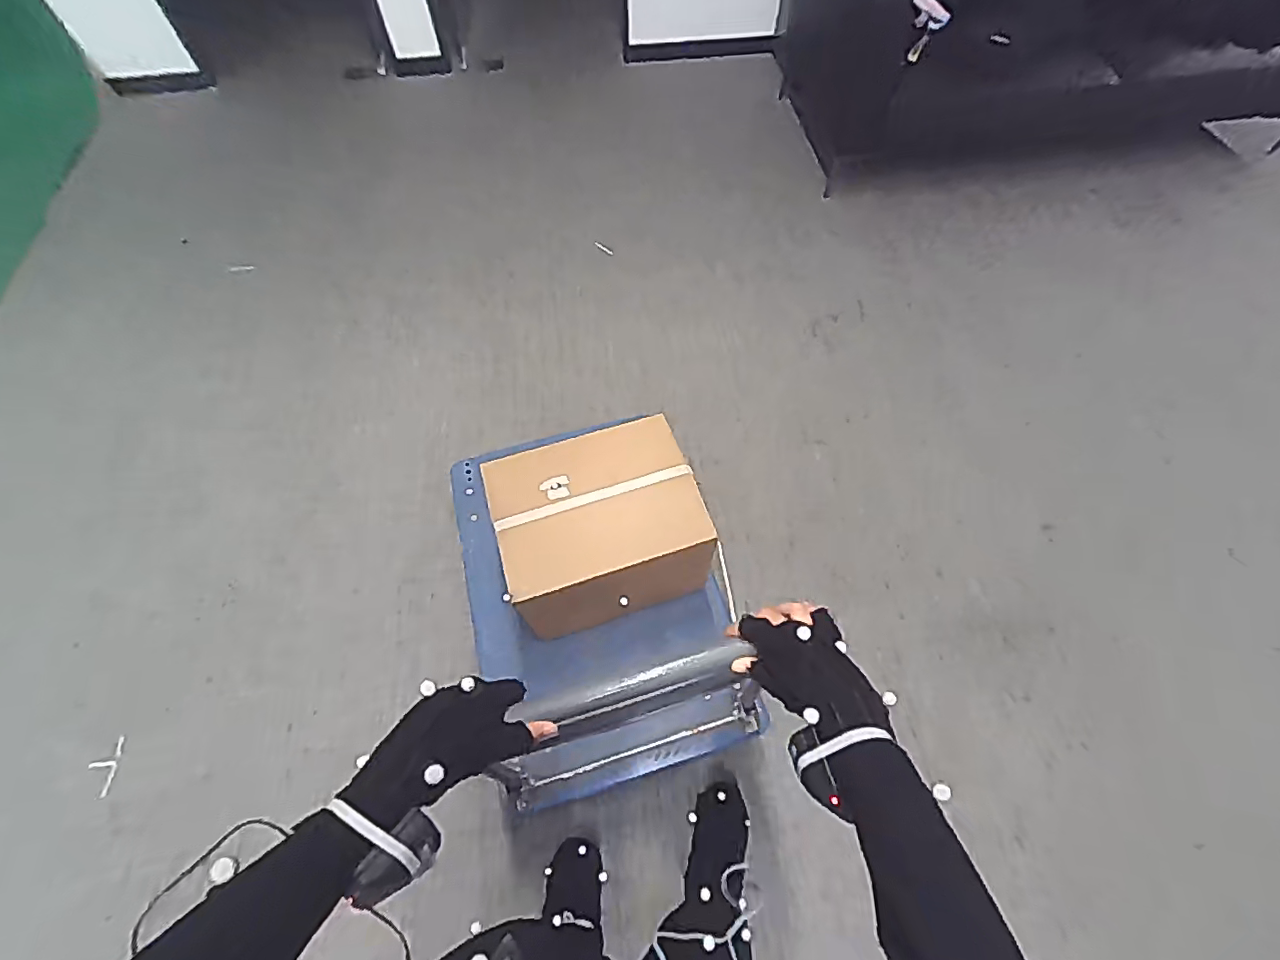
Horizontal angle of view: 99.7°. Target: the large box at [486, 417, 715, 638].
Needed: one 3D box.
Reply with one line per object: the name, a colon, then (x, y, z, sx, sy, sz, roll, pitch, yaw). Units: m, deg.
large box: (-0.082, 0.116, 1.218, 0.408, 0.320, 0.320, -17, 61, -7)
